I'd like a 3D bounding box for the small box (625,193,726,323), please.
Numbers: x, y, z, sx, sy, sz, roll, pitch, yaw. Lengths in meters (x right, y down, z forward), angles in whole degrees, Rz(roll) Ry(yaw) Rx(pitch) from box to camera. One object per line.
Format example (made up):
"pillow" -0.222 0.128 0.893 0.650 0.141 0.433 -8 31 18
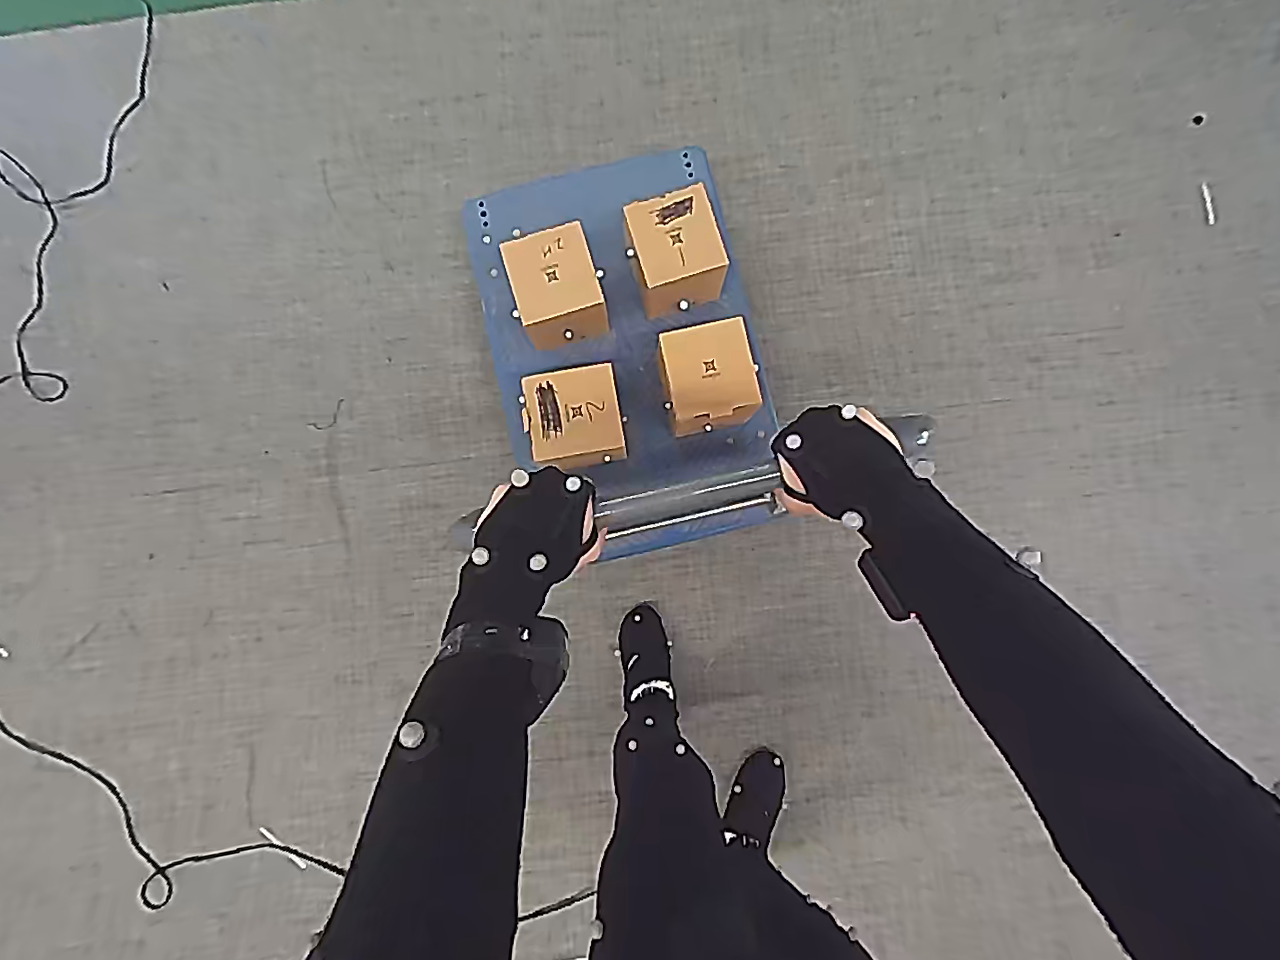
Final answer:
"small box" 0.071 -0.462 1.148 0.168 0.176 0.179 -17 86 0

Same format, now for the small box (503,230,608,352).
"small box" -0.169 -0.387 1.145 0.168 0.176 0.179 -17 85 -1

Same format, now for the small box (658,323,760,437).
"small box" 0.134 -0.200 1.125 0.168 0.176 0.179 -12 85 -1
